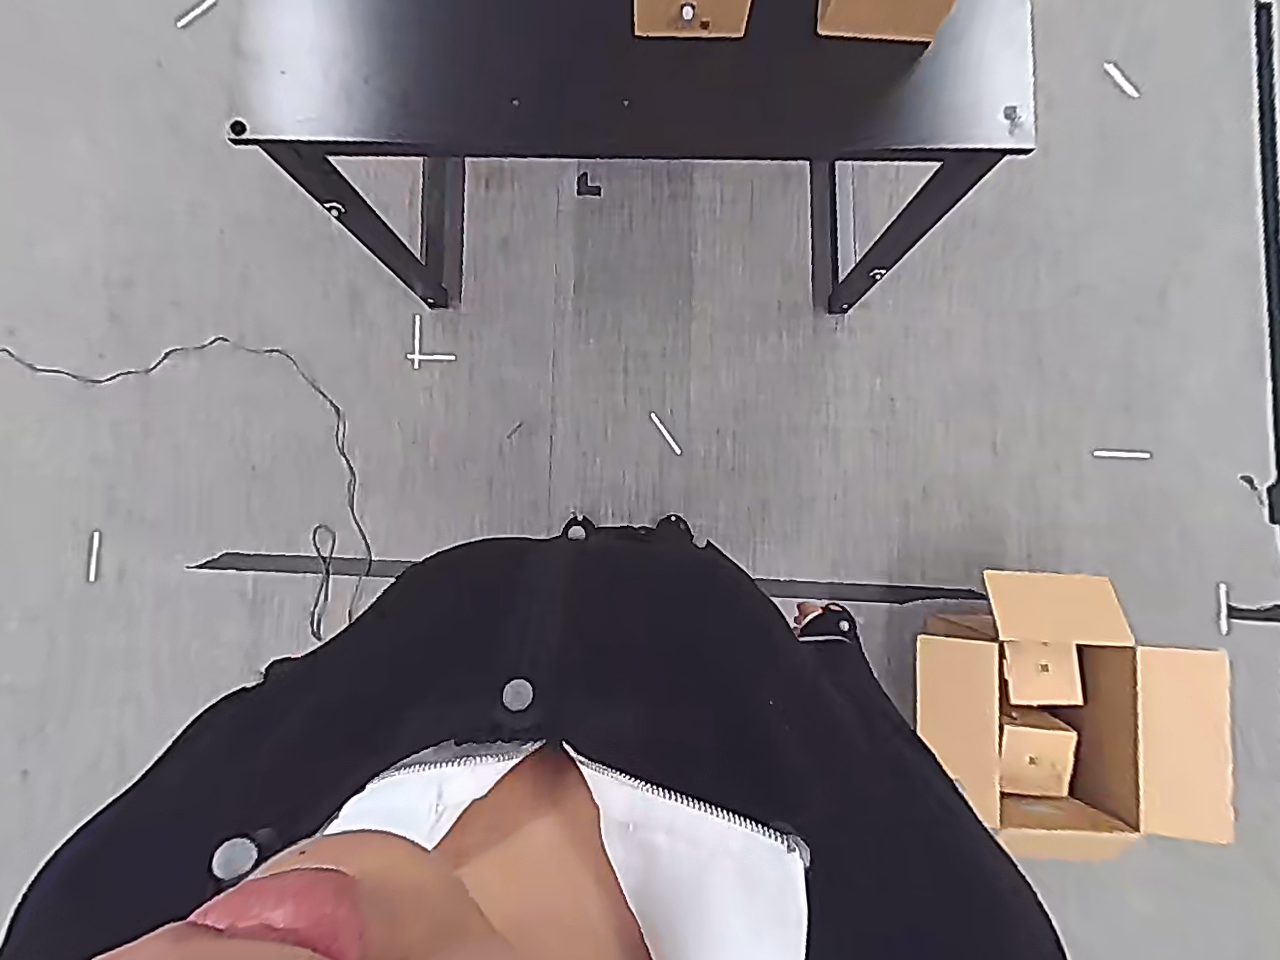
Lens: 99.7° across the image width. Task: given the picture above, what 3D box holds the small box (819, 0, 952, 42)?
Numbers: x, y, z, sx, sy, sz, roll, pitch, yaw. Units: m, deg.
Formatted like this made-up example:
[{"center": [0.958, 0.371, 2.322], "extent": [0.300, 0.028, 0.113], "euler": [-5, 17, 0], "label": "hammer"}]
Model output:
[{"center": [0.356, -0.747, 0.739], "extent": [0.179, 0.176, 0.168], "euler": [4, 87, 1], "label": "small box"}]

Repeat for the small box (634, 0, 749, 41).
[{"center": [0.075, -0.758, 0.741], "extent": [0.168, 0.176, 0.179], "euler": [2, 87, 1], "label": "small box"}]
